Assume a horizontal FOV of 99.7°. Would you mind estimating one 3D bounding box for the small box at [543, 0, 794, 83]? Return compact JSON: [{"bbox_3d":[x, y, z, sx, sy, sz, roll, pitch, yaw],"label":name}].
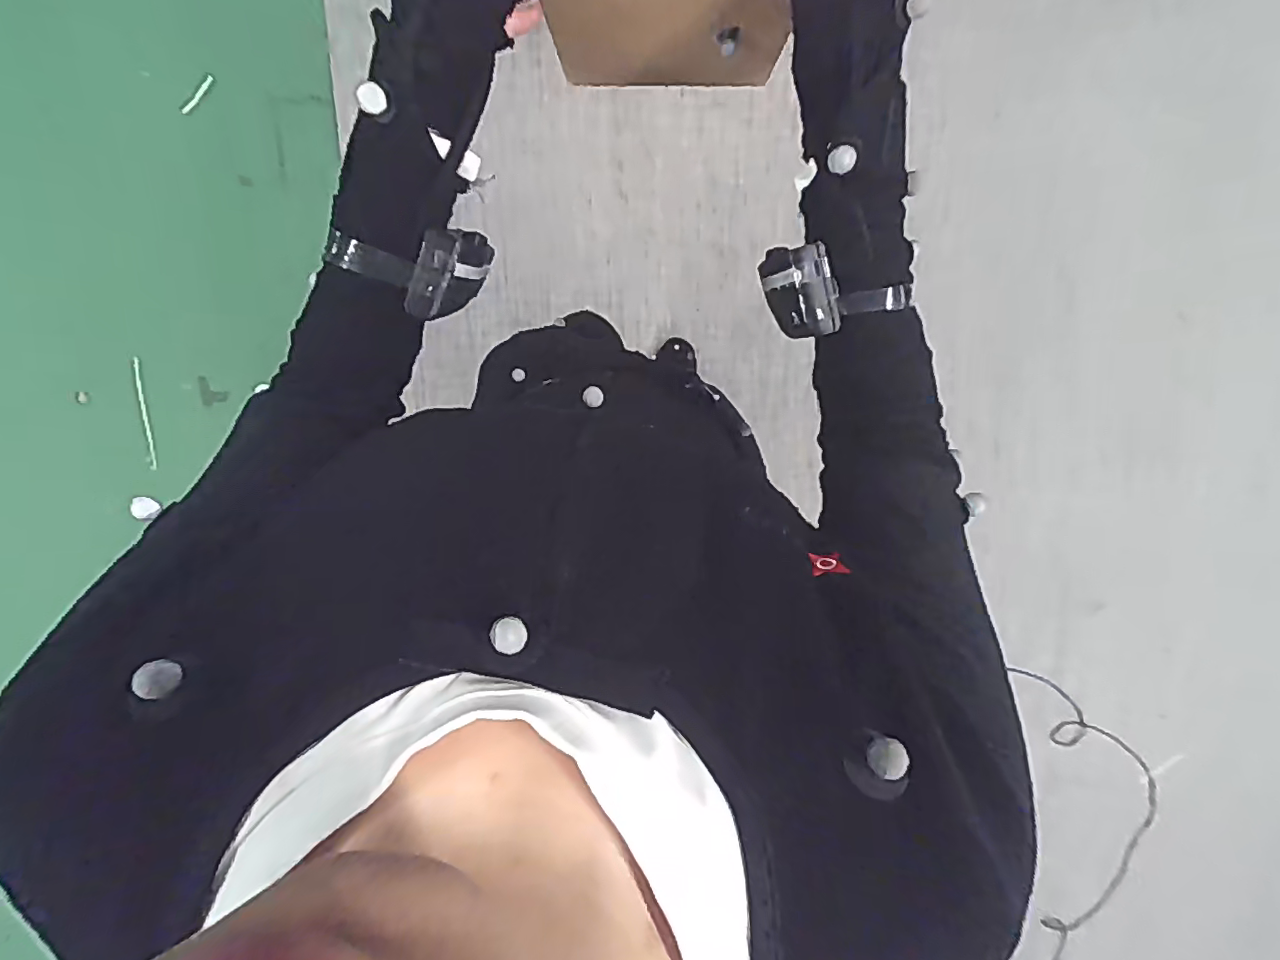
[{"bbox_3d":[0.022,-0.407,0.376,0.179,0.176,0.168,0,104,3],"label":"small box"}]
